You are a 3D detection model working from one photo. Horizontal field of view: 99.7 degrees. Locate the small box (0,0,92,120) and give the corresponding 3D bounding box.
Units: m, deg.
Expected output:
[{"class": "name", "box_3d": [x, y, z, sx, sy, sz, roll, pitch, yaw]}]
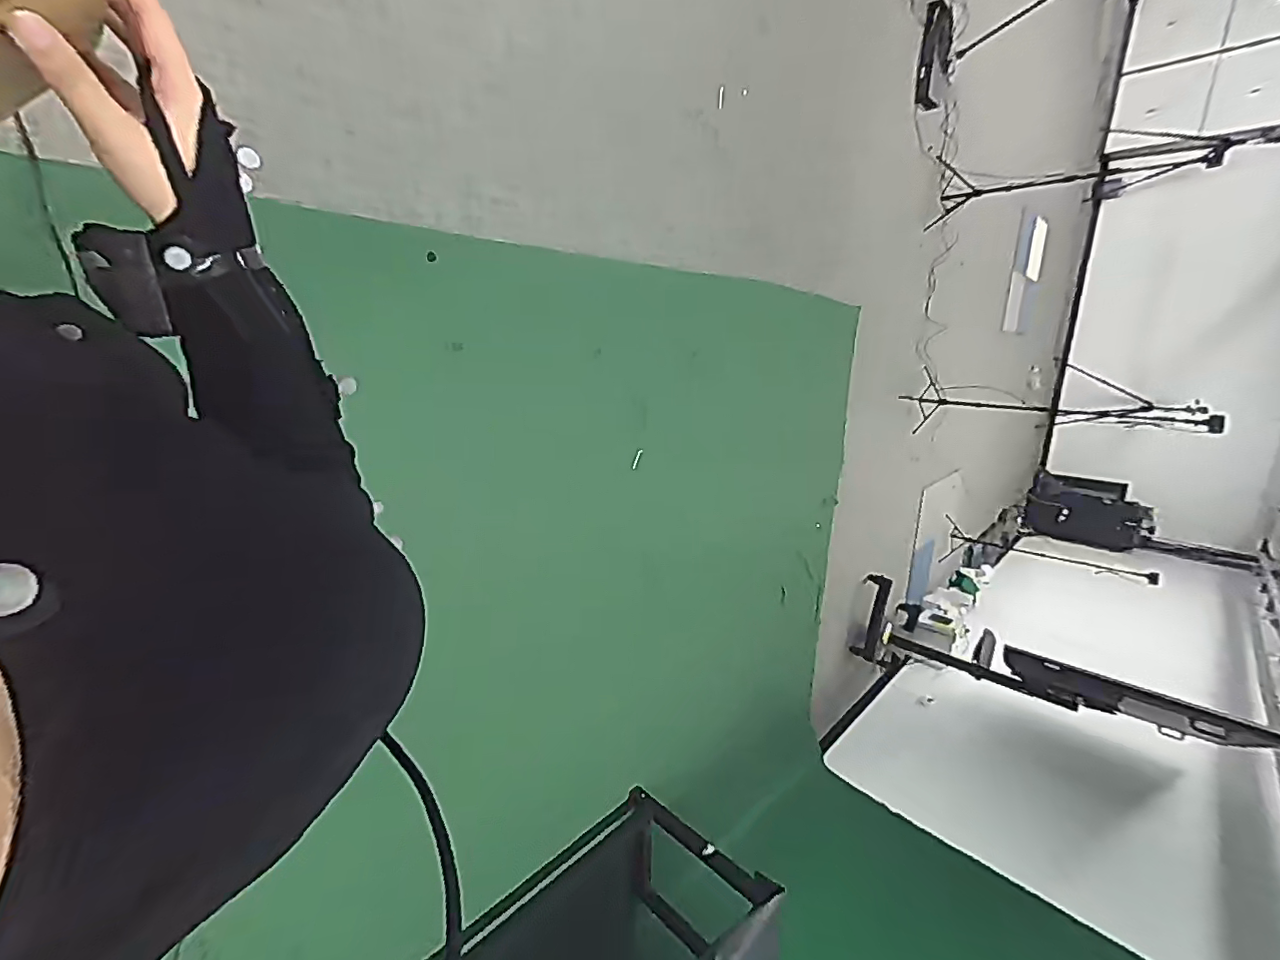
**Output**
[{"class": "small box", "box_3d": [-0.371, -0.238, 0.215, 0.179, 0.176, 0.168, -59, 136, -19]}]
